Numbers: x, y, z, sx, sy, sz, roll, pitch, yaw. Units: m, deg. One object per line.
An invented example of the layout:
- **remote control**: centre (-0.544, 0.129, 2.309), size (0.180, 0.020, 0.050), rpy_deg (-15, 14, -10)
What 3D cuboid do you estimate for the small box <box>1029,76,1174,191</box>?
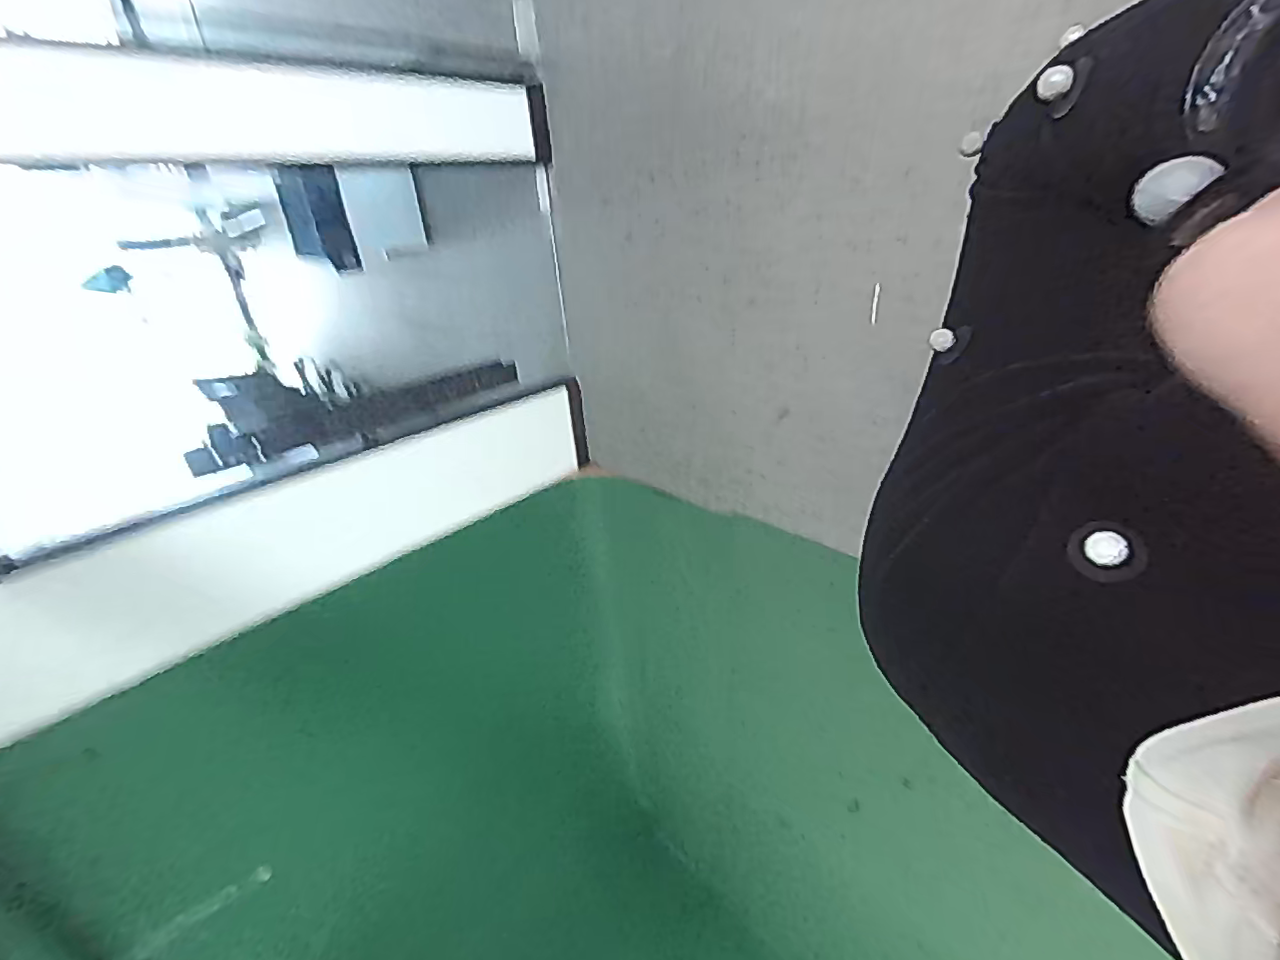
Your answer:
- **small box**: centre (0.910, -0.674, 1.066), size (0.168, 0.176, 0.179), rpy_deg (24, 128, 39)
